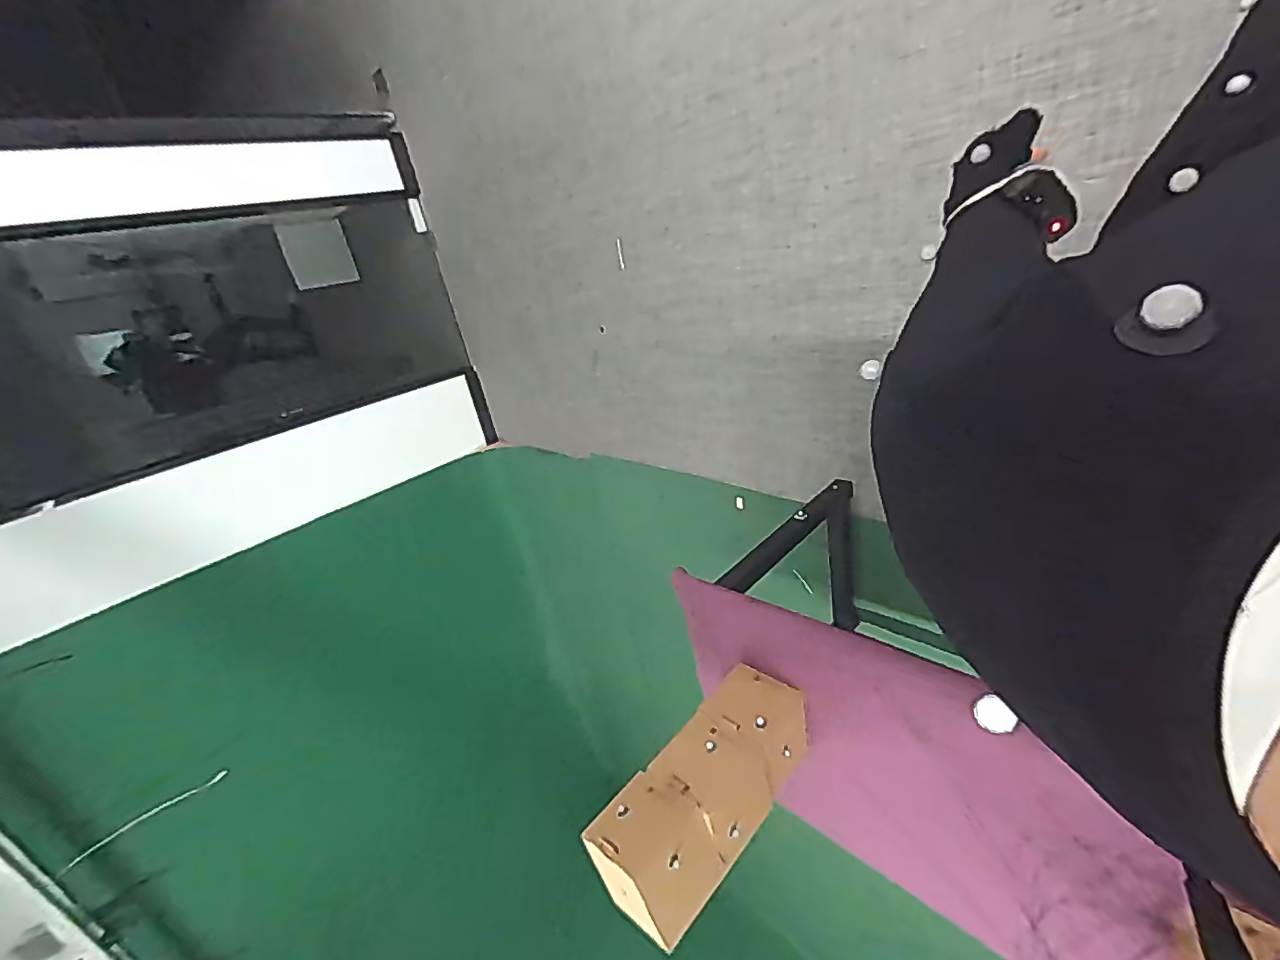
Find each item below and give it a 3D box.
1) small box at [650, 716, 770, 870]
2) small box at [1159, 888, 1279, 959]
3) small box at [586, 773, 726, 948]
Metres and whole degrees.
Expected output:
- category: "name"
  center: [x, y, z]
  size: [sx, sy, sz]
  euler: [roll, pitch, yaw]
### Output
- category: "small box"
  center: [0.150, 0.634, 1.113]
  size: [0.168, 0.176, 0.179]
  euler: [10, 122, 45]
- category: "small box"
  center: [0.780, 0.692, 0.693]
  size: [0.168, 0.176, 0.179]
  euler: [12, 122, 46]
- category: "small box"
  center: [0.033, 0.701, 1.022]
  size: [0.168, 0.176, 0.179]
  euler: [-4, 112, 51]
